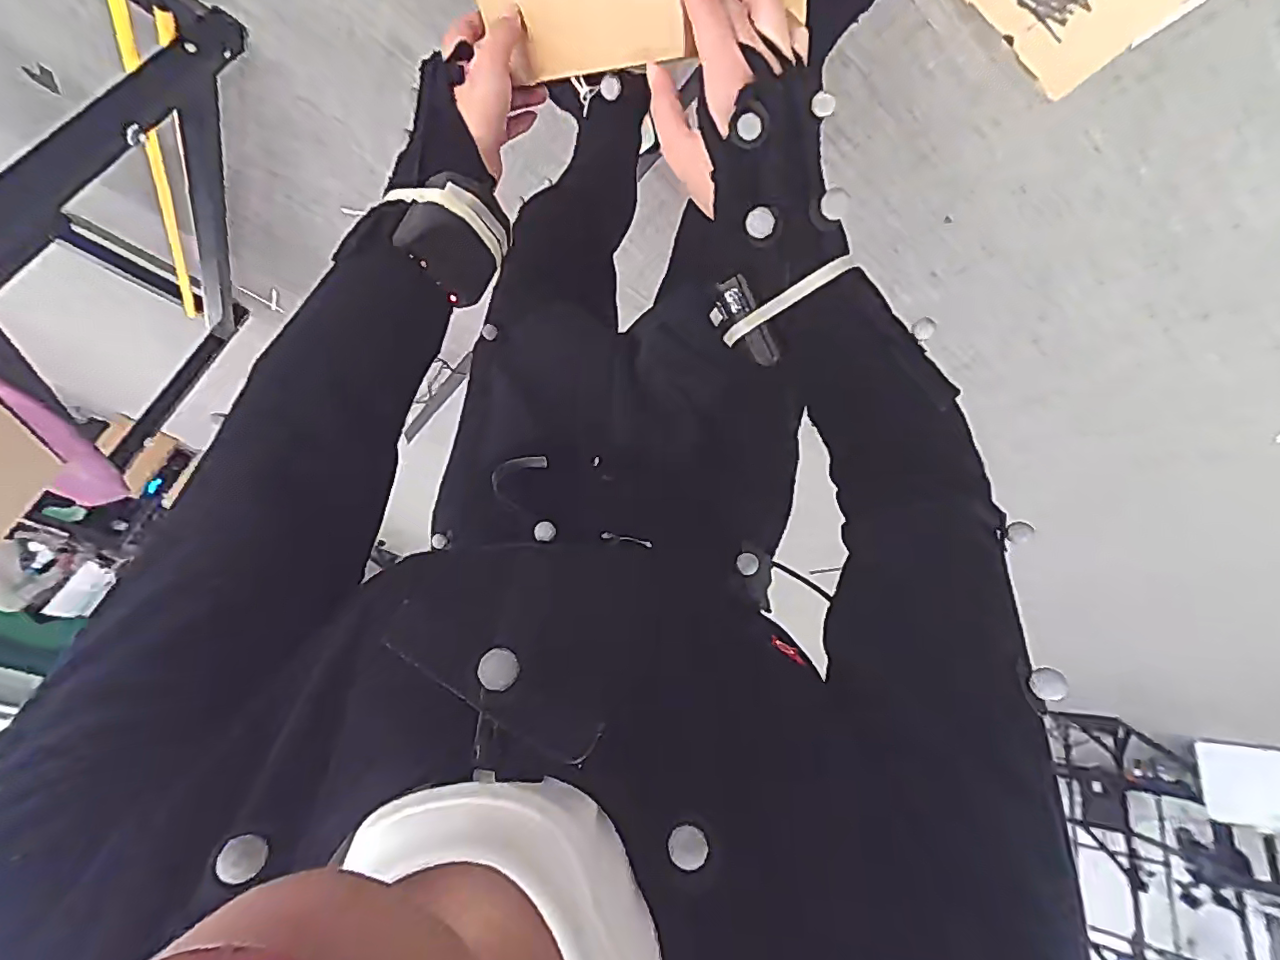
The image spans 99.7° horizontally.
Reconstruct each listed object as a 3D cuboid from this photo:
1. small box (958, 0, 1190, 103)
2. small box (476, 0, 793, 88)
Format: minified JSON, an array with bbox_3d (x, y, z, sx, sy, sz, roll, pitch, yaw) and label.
[{"bbox_3d":[0.400,-0.498,0.471,0.168,0.176,0.179,27,152,-21],"label":"small box"},{"bbox_3d":[-0.003,-0.379,0.356,0.179,0.176,0.168,21,138,33],"label":"small box"}]
